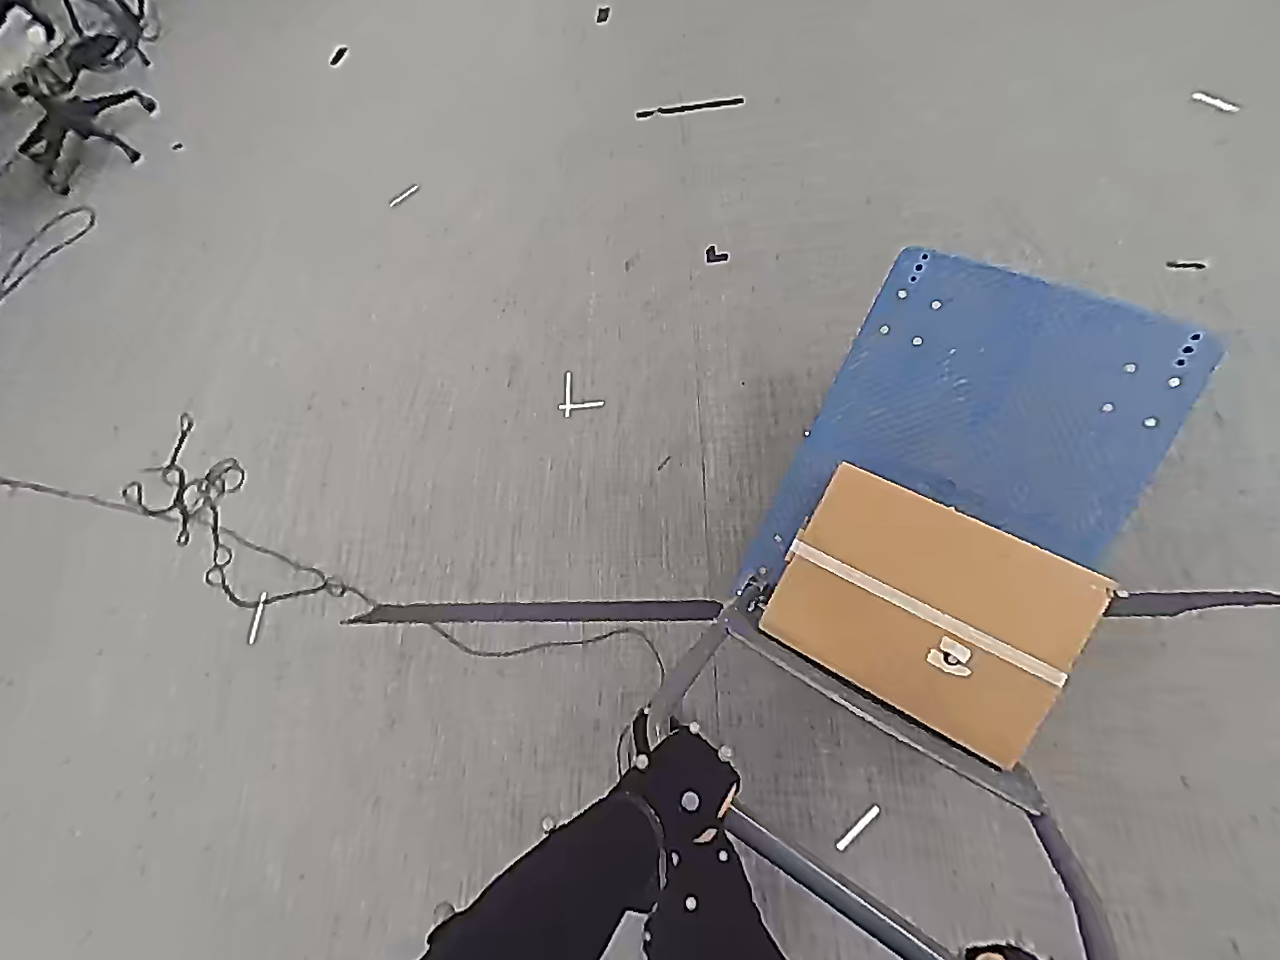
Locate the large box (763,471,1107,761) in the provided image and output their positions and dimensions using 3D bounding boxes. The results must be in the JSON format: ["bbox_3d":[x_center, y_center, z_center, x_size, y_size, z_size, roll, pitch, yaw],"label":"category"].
[{"bbox_3d":[0.484,0.207,0.985,0.408,0.320,0.320,26,97,18],"label":"large box"}]
